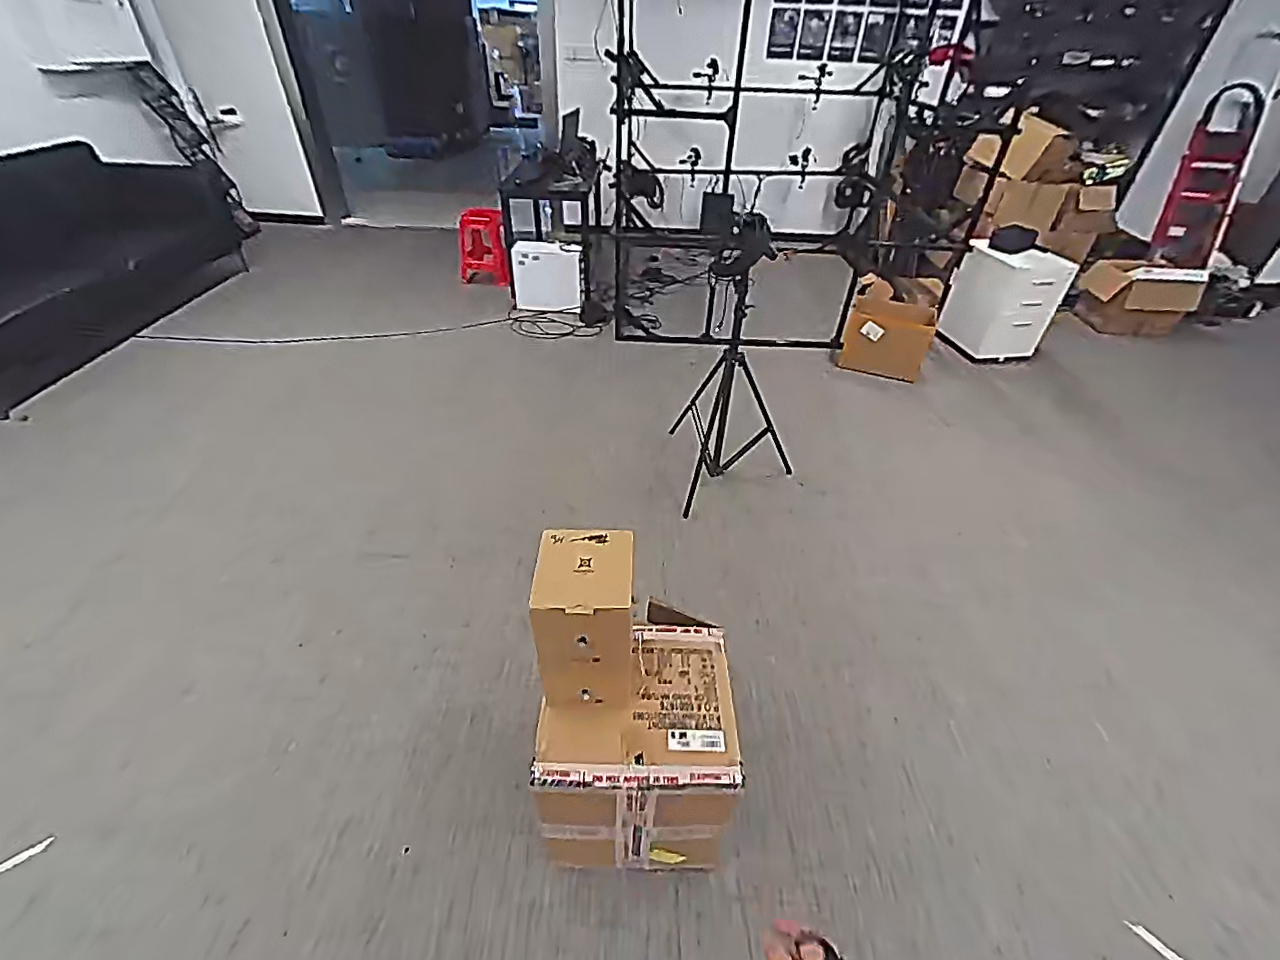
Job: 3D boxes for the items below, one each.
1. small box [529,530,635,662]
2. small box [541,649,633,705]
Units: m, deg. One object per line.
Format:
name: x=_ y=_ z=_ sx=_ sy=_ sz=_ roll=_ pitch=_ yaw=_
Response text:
small box: x=-0.093 y=0.210 z=0.971 sx=0.168 sy=0.176 sz=0.179 roll=0 pitch=42 yaw=0
small box: x=-0.099 y=0.328 z=1.086 sx=0.168 sy=0.176 sz=0.179 roll=-1 pitch=41 yaw=-1
